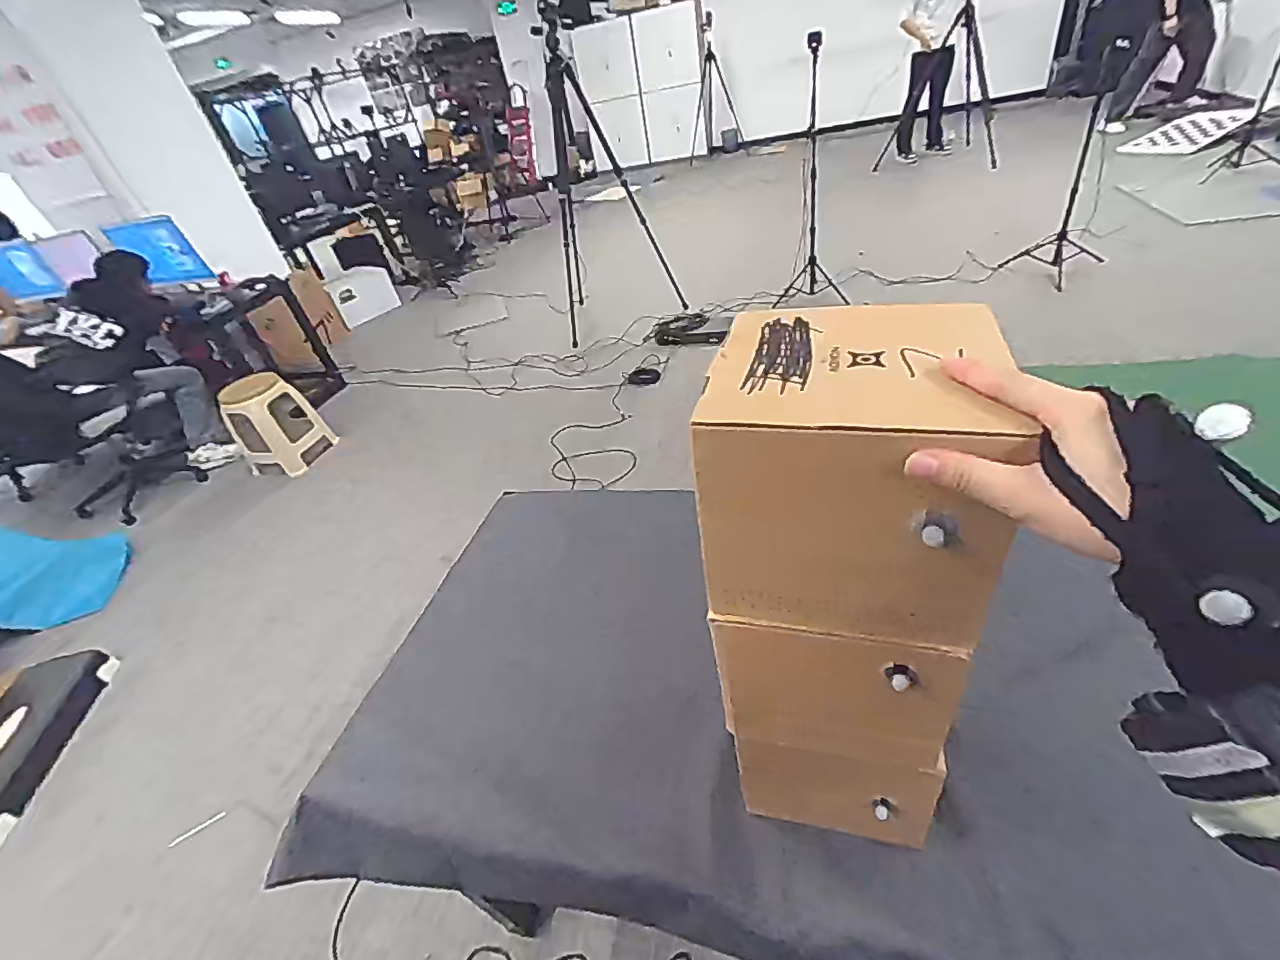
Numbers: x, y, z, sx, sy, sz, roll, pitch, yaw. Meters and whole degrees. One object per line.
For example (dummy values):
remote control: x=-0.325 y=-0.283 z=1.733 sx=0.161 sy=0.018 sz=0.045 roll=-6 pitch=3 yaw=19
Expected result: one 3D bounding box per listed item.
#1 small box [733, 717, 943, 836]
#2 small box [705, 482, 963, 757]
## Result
small box: x=0.203 y=0.249 z=0.576 sx=0.179 sy=0.176 sz=0.168 roll=0 pitch=38 yaw=19
small box: x=0.166 y=0.119 z=0.484 sx=0.179 sy=0.176 sz=0.168 roll=3 pitch=39 yaw=19
